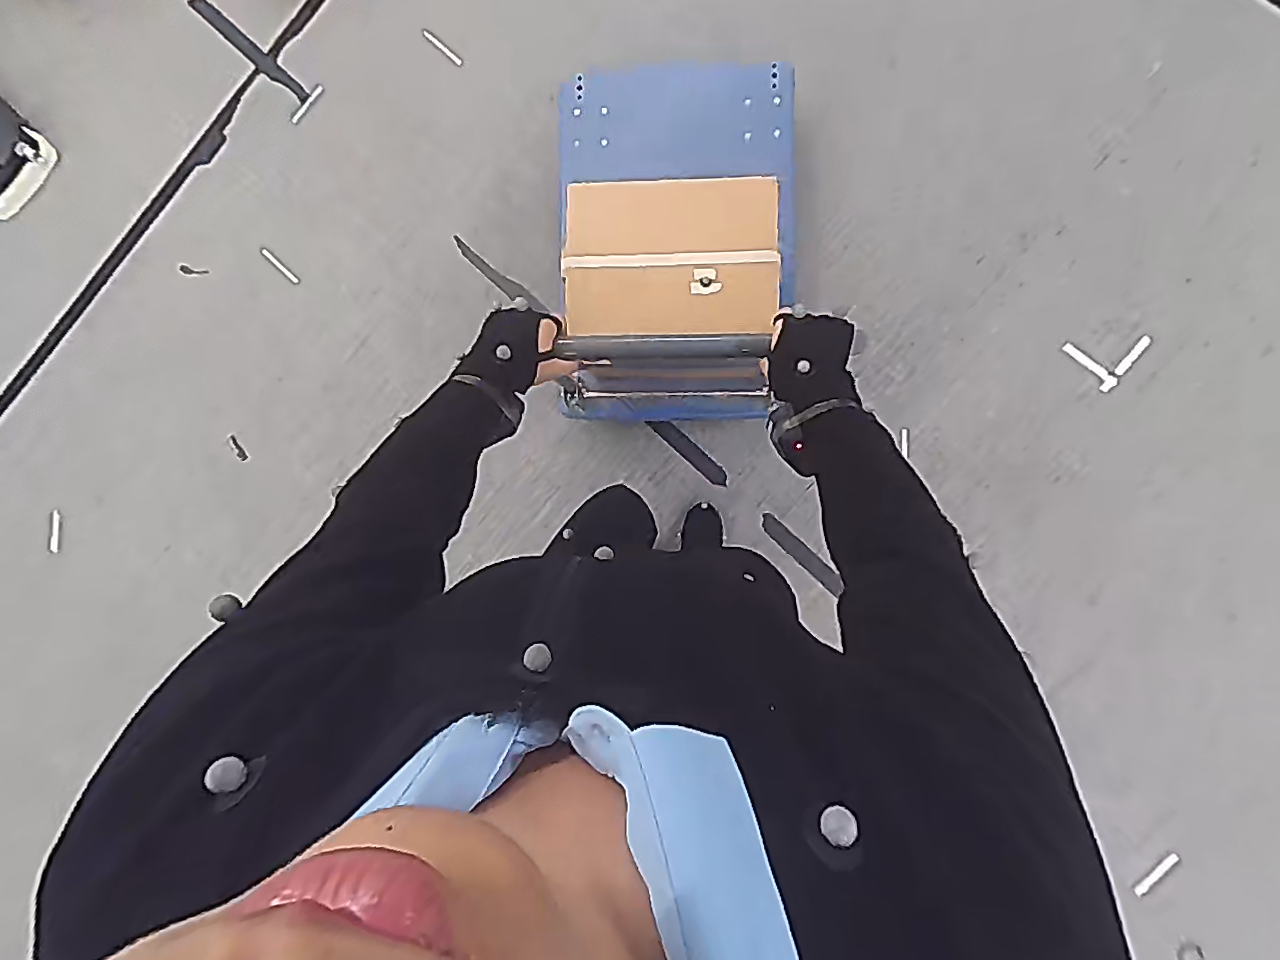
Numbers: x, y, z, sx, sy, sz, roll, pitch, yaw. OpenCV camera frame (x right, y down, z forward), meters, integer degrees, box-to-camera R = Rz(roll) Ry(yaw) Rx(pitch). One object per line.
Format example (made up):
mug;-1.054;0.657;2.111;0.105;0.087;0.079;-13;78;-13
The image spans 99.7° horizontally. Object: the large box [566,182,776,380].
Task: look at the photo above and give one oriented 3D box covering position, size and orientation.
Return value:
large box;0.063;-0.404;1.175;0.408;0.320;0.320;0;89;4
